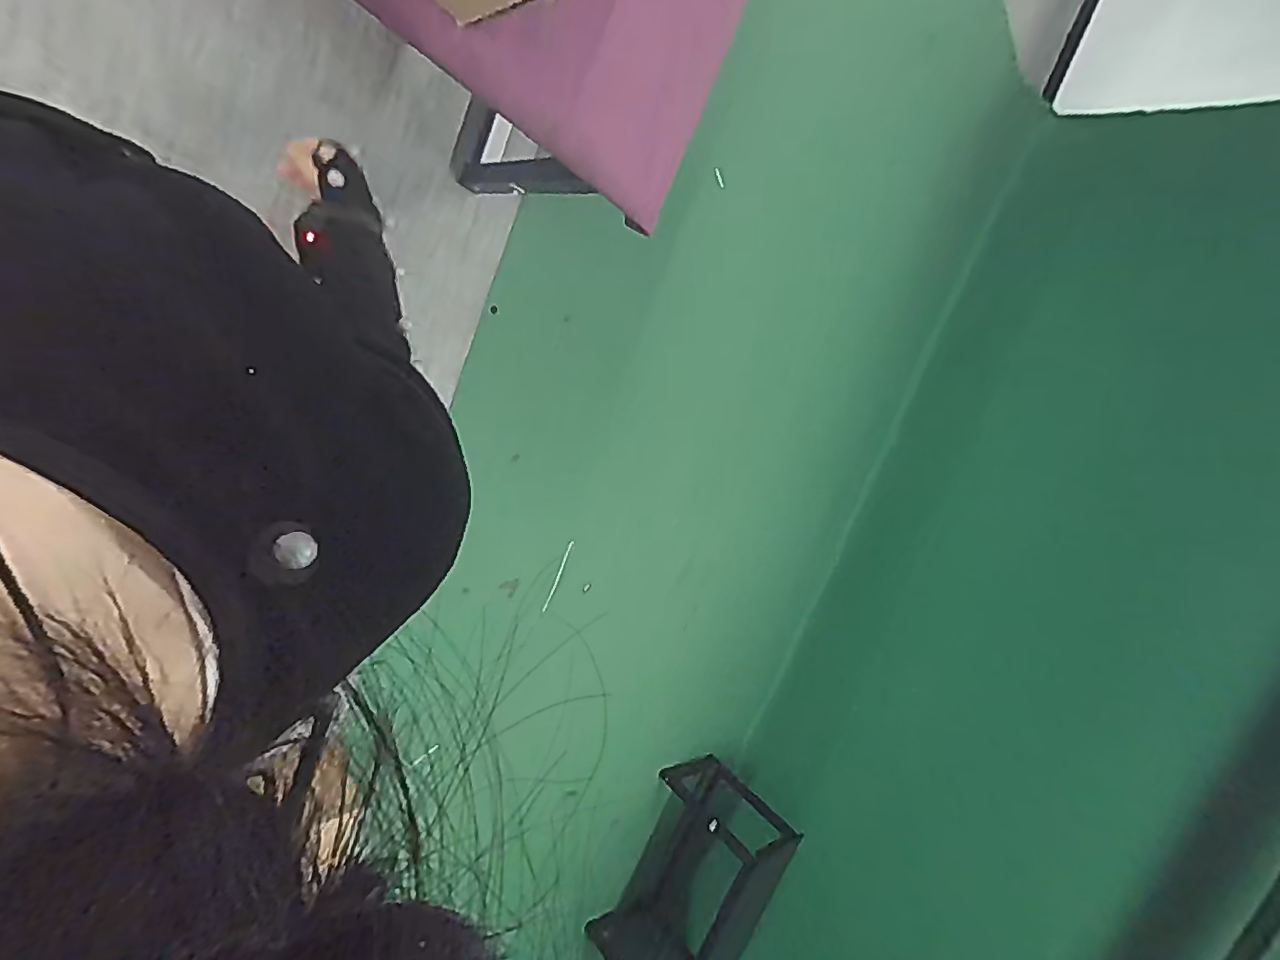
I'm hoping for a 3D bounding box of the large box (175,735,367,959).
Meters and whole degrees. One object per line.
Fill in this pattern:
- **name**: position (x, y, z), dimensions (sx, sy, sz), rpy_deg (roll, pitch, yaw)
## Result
- **large box**: position (-1.054, 1.025, 1.556), dimensions (0.408, 0.320, 0.320), rpy_deg (-6, 115, -44)
